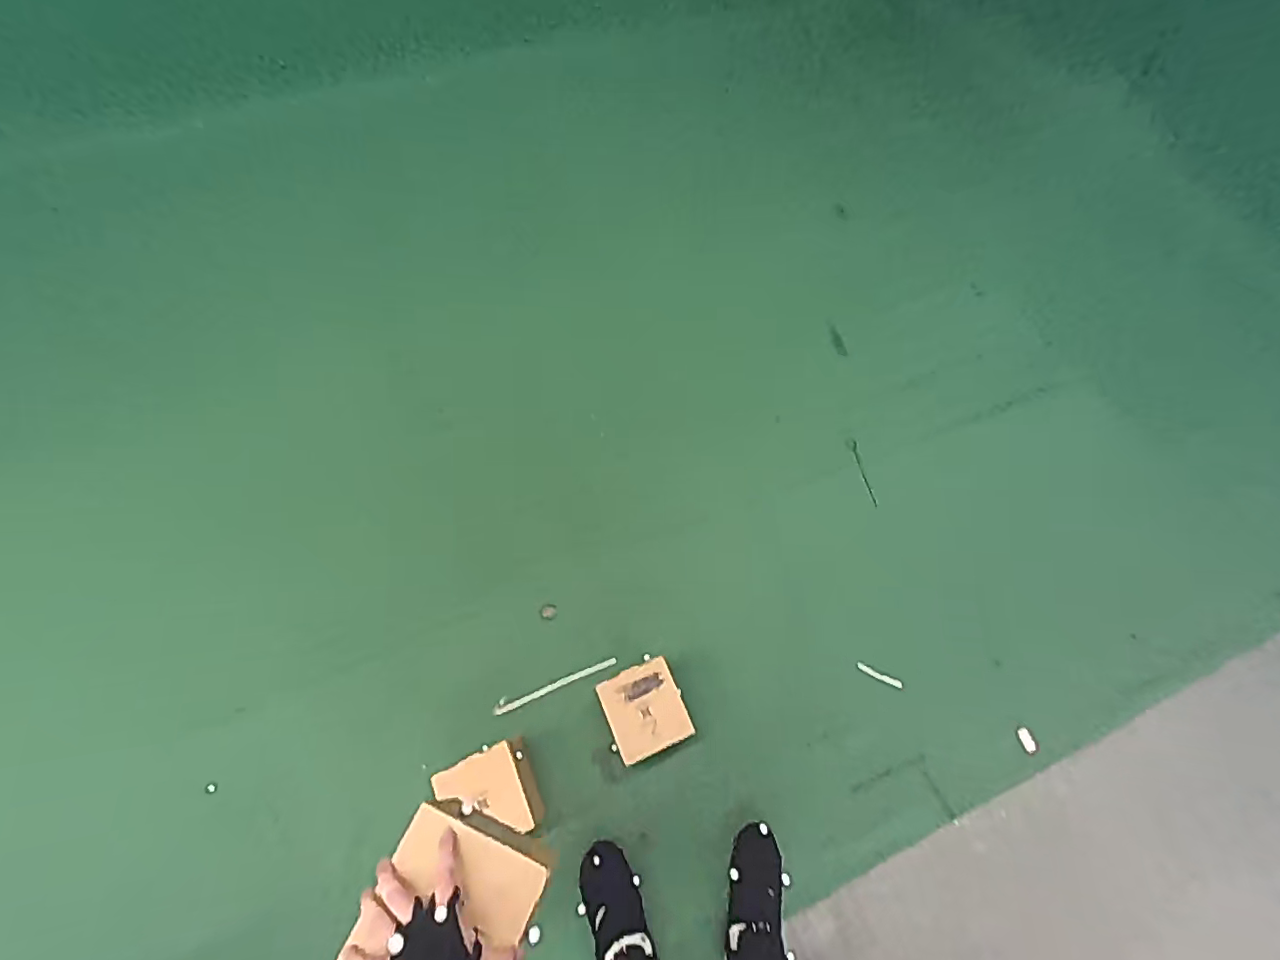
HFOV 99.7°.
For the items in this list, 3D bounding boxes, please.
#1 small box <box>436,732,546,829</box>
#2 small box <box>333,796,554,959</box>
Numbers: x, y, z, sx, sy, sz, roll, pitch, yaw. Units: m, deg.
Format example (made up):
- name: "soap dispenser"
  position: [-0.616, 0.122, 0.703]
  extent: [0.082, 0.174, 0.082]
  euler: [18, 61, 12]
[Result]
- name: "small box"
  position: [-0.316, 0.672, 1.178]
  extent: [0.168, 0.176, 0.179]
  euler: [-23, 69, -11]
- name: "small box"
  position: [-0.224, 0.516, 0.670]
  extent: [0.179, 0.176, 0.168]
  euler: [23, 63, 8]
